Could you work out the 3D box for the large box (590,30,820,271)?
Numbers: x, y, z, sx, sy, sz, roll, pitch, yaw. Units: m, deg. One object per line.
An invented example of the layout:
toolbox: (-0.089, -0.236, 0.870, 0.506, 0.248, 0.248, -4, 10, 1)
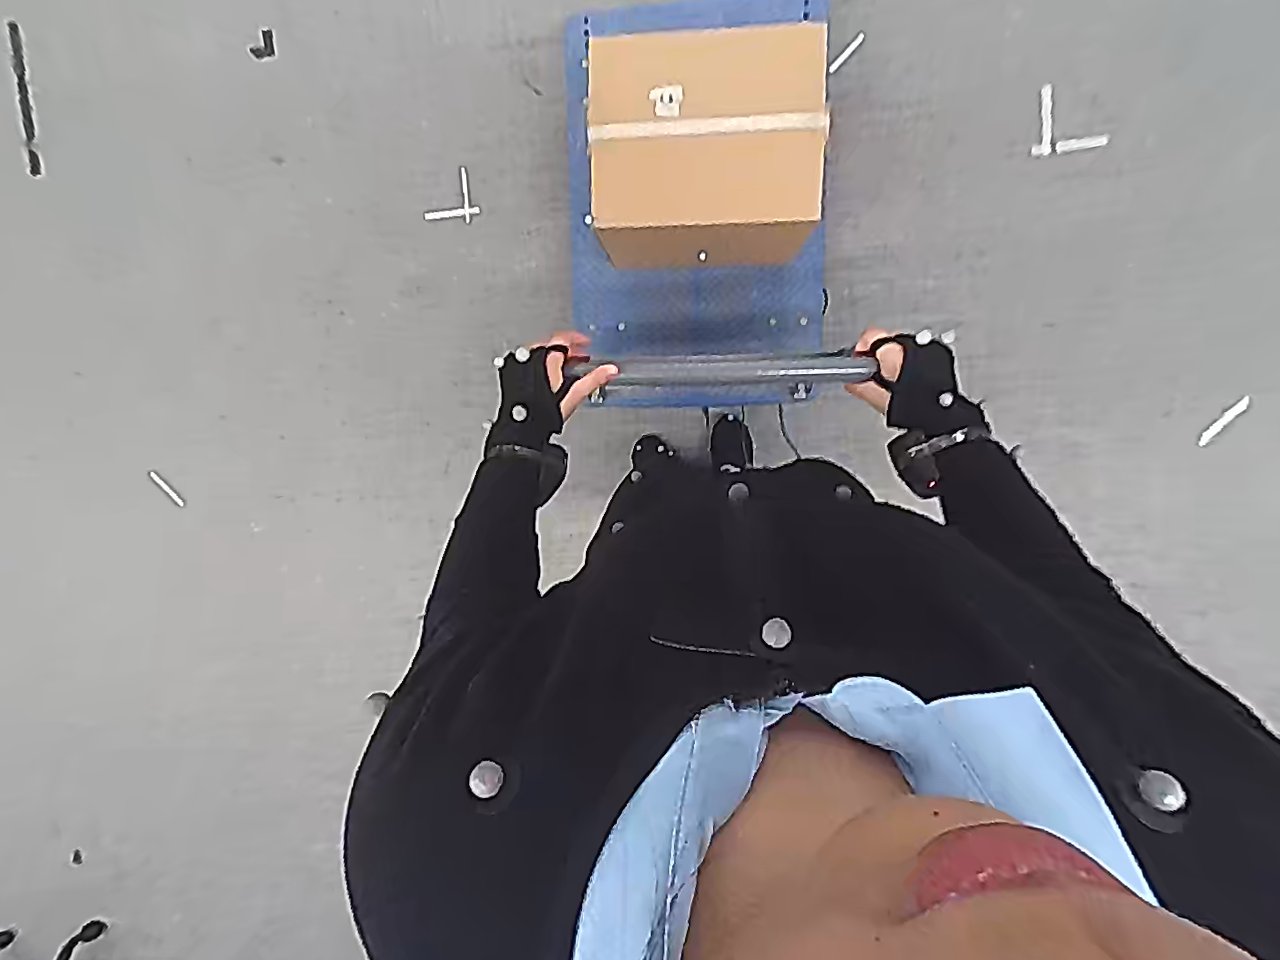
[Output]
large box: (0.130, -0.625, 1.098, 0.408, 0.320, 0.320, 0, 96, 6)
